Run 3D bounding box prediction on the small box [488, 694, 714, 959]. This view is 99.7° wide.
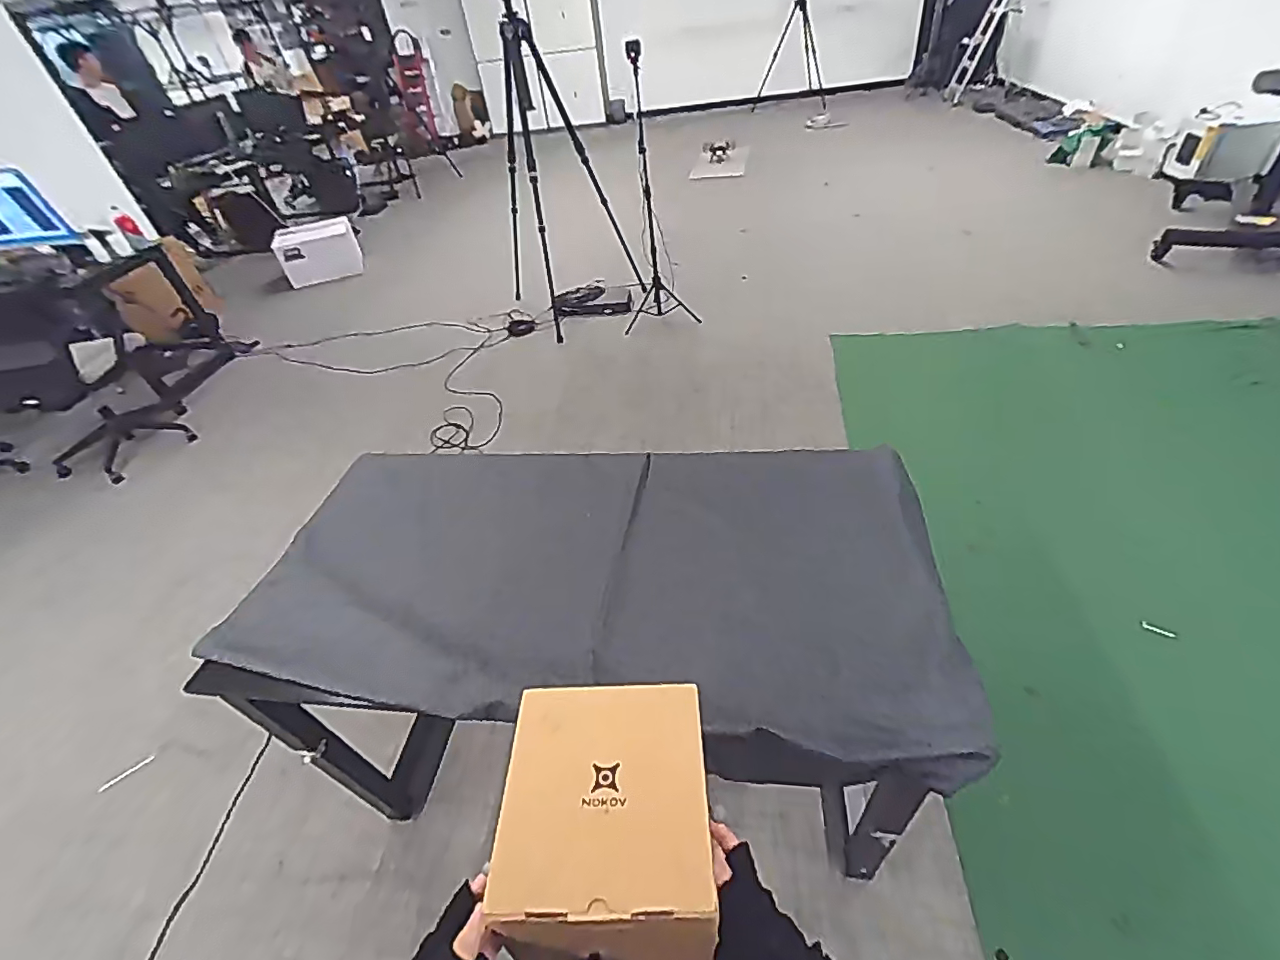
[{"bbox_3d":[-0.025,0.323,0.499,0.168,0.176,0.179,-2,38,2],"label":"small box"}]
